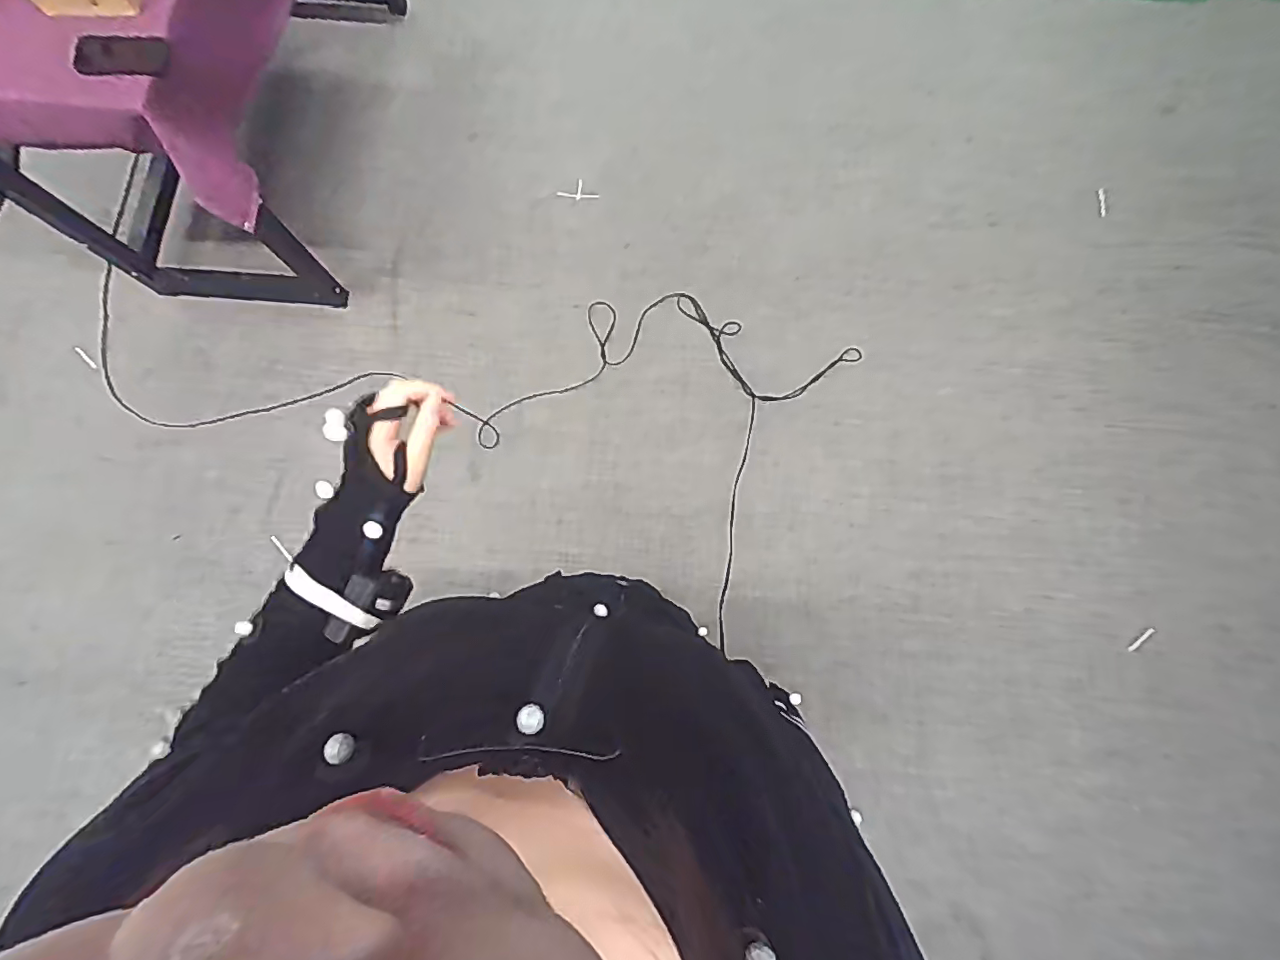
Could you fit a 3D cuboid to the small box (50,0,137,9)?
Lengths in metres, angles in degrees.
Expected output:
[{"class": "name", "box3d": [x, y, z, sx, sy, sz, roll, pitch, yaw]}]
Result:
[{"class": "small box", "box3d": [-0.984, -0.945, 0.913, 0.168, 0.176, 0.179, -1, 78, -1]}]
